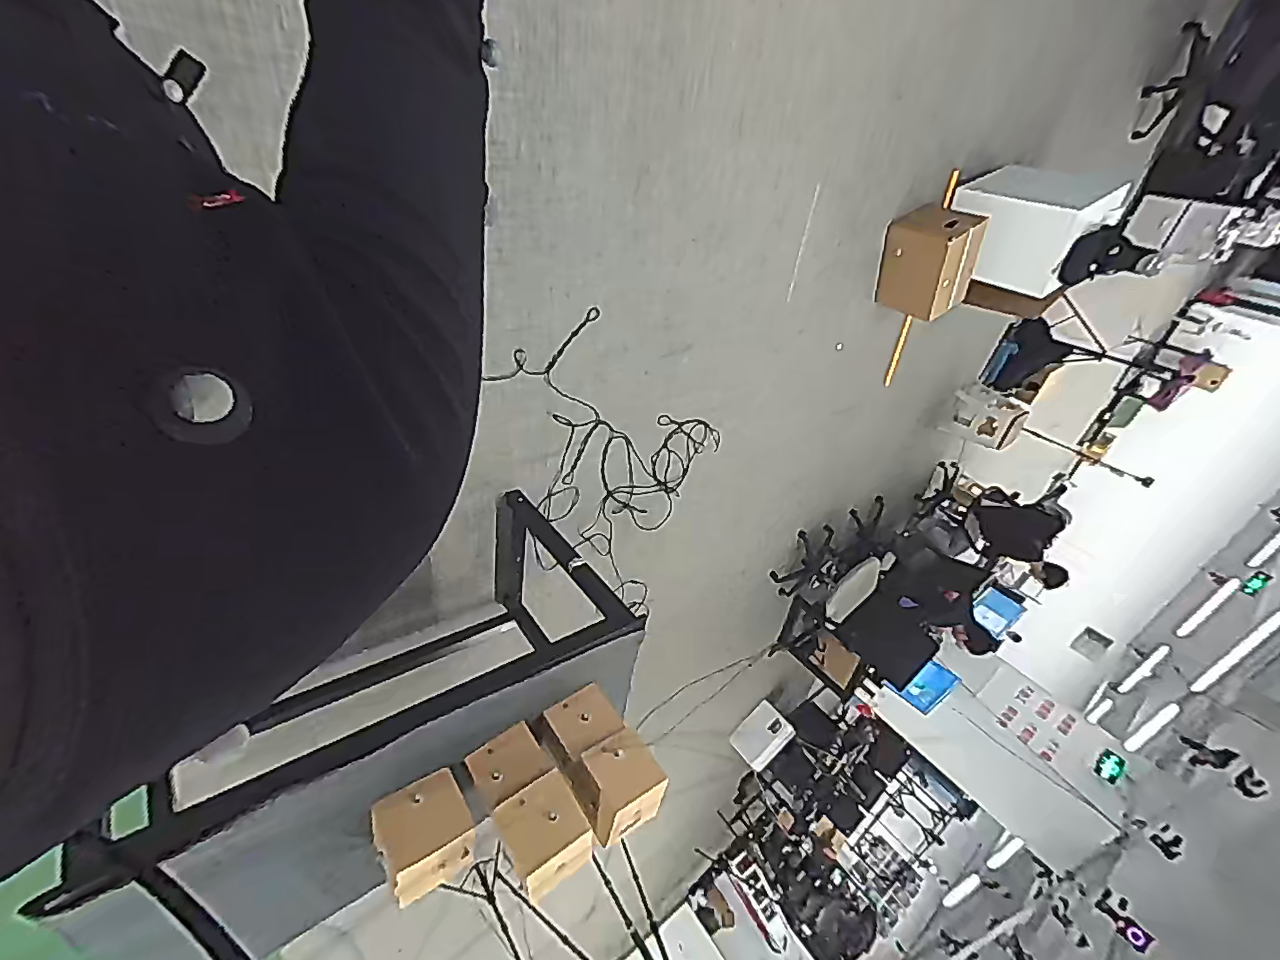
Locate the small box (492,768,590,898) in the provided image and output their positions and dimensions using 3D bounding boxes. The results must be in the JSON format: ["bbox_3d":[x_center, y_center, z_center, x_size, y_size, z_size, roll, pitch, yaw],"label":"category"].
[{"bbox_3d":[-0.231,0.813,1.262,0.168,0.176,0.179,-22,135,-30],"label":"small box"}]
